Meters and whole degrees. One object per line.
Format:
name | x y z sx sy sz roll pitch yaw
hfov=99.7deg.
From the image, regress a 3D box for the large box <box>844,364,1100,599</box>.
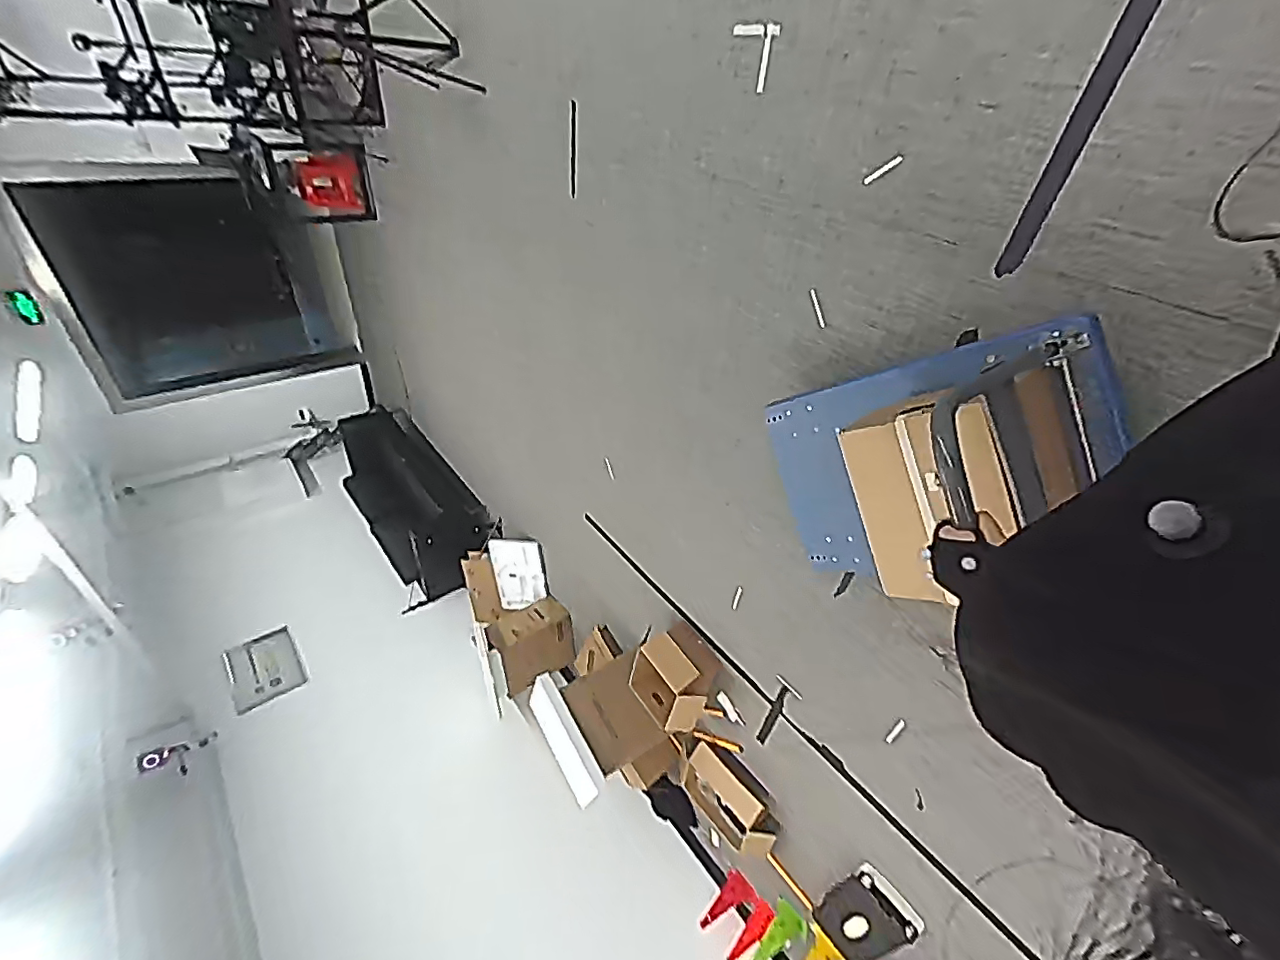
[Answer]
large box | 0.716 0.005 1.176 0.320 0.320 0.408 -11 99 56
